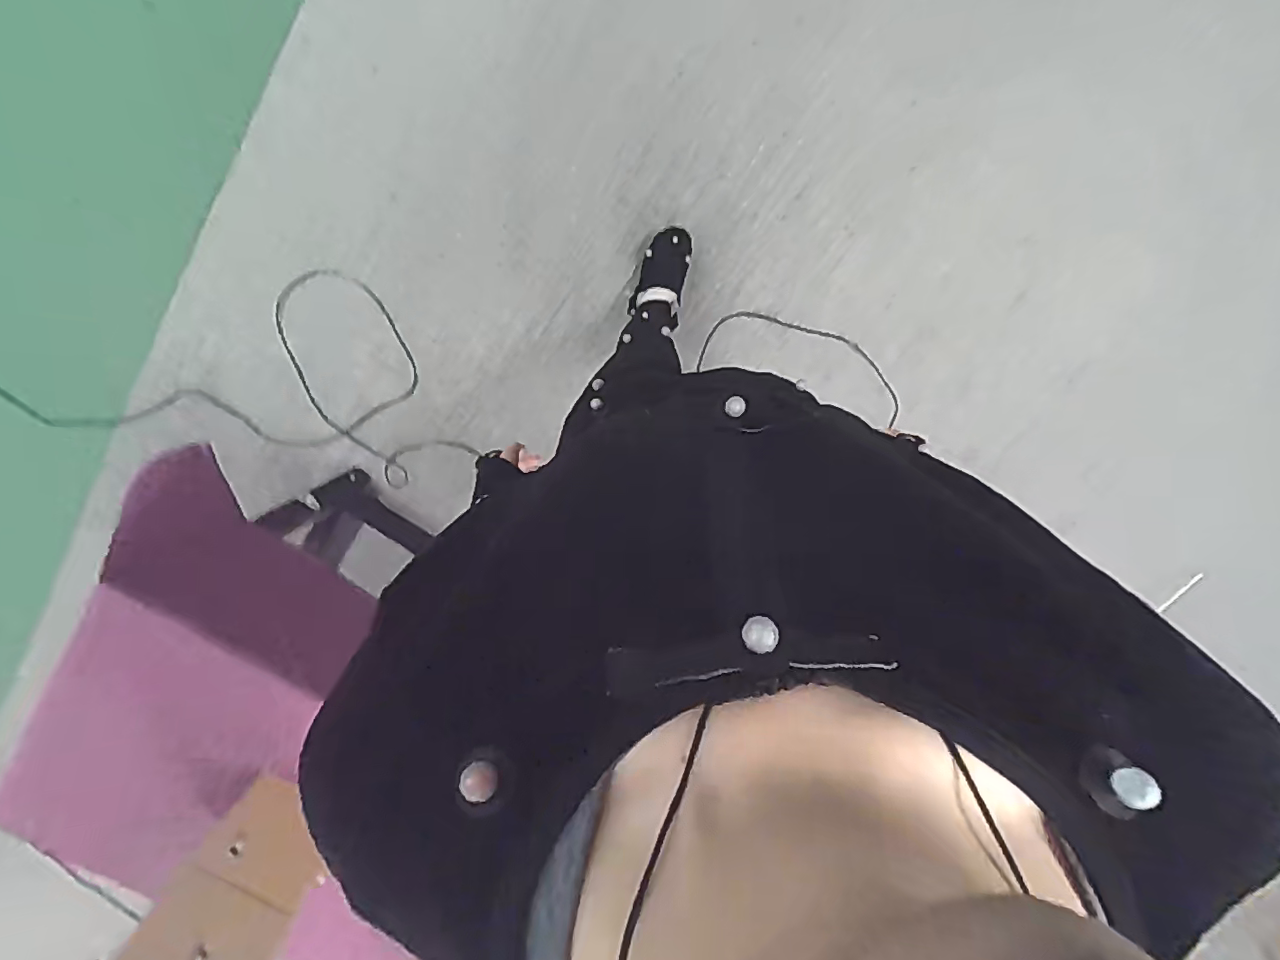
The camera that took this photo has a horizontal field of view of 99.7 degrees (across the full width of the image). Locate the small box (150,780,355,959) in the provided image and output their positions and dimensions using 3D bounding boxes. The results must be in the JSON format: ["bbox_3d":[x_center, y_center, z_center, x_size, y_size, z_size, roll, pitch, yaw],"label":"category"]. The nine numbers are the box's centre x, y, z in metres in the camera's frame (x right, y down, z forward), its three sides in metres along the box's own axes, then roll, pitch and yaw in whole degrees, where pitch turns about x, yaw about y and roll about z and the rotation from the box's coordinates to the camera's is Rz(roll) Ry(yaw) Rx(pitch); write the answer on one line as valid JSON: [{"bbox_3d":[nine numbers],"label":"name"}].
[{"bbox_3d":[-0.612,0.629,0.876,0.179,0.176,0.168,37,105,-9],"label":"small box"}]
